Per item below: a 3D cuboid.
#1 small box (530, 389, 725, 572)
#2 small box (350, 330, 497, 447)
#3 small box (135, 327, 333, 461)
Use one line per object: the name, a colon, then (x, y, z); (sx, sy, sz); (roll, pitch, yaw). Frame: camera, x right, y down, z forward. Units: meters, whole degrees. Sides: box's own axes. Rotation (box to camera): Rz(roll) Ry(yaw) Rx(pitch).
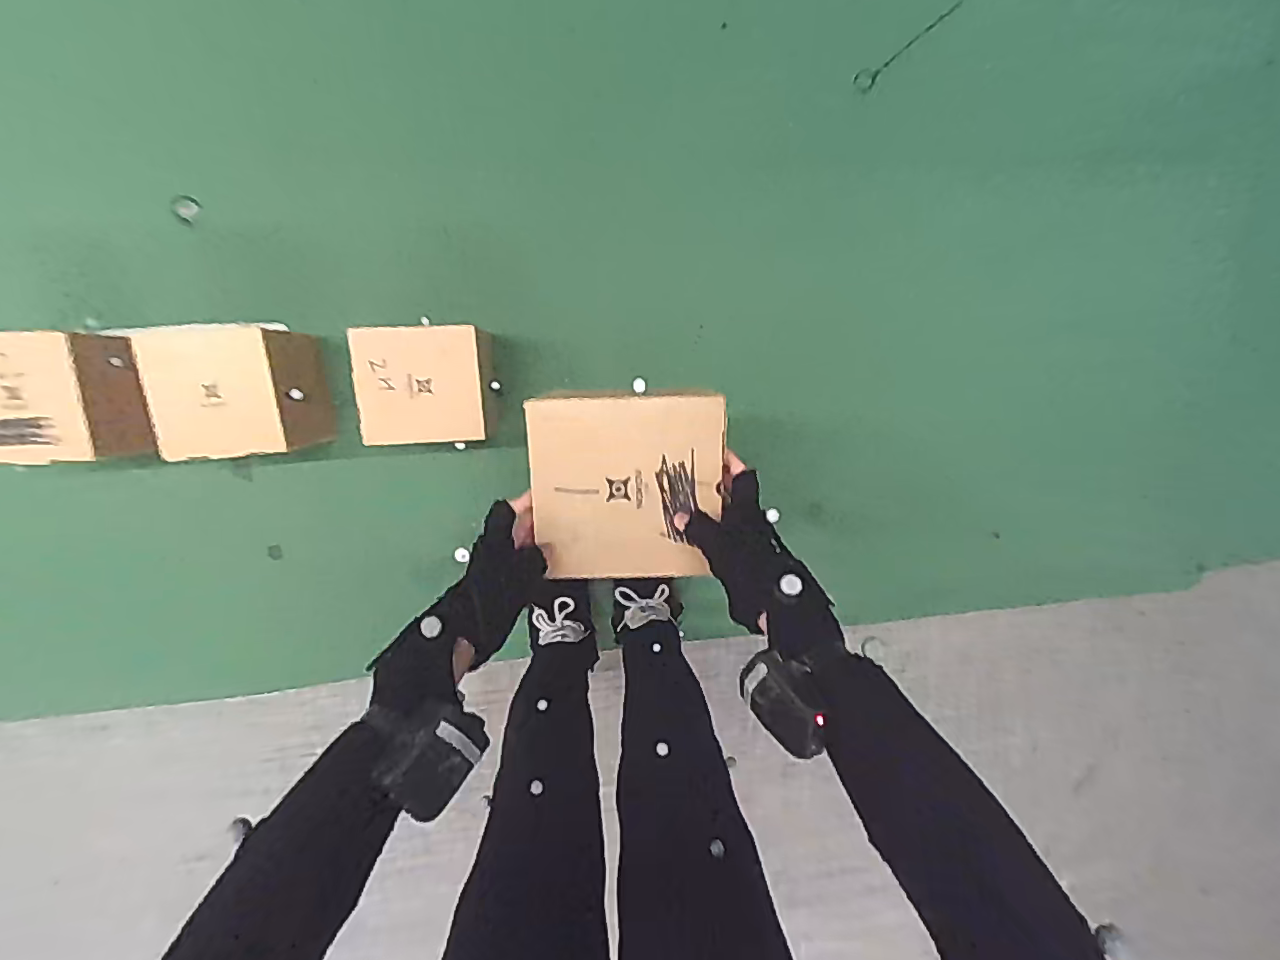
small box: (-0.011, -0.010, 0.572); (0.179, 0.176, 0.168); (-1, 102, 1)
small box: (-0.324, -0.146, 0.849); (0.179, 0.176, 0.168); (-3, 102, -6)
small box: (-0.597, -0.133, 0.822); (0.168, 0.176, 0.179); (-5, 103, -6)
